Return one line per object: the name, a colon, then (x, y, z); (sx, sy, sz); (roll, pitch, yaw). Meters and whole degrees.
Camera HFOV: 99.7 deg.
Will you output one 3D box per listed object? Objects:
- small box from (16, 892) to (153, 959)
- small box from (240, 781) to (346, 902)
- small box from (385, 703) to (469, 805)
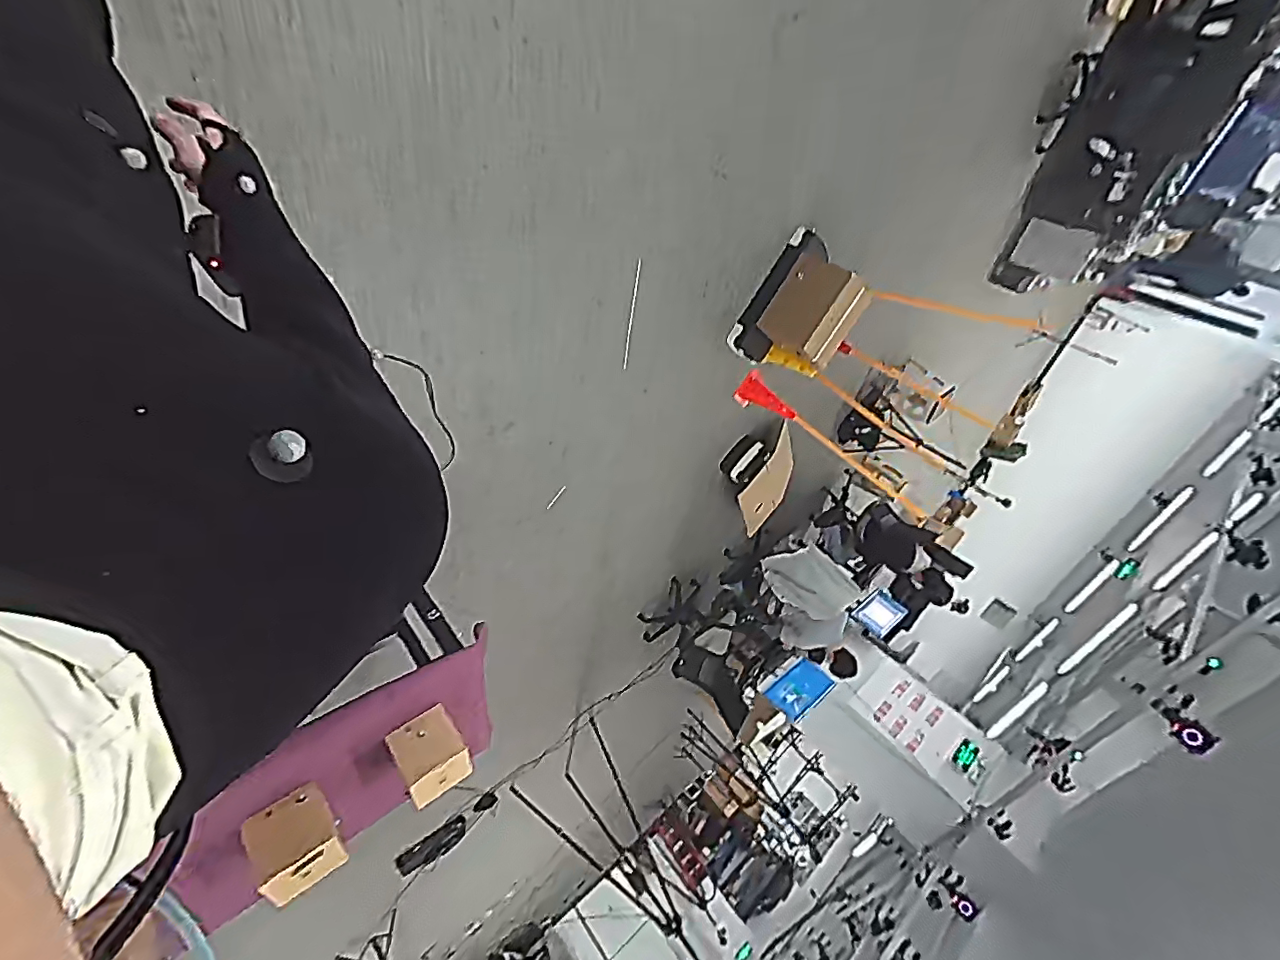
small box: (-1.166, 1.031, 1.138); (0.179, 0.176, 0.168); (-23, 140, -36)
small box: (-0.874, 0.904, 1.365); (0.168, 0.176, 0.179); (-24, 141, -34)
small box: (-0.612, 0.783, 1.559); (0.168, 0.176, 0.179); (-26, 141, -34)
